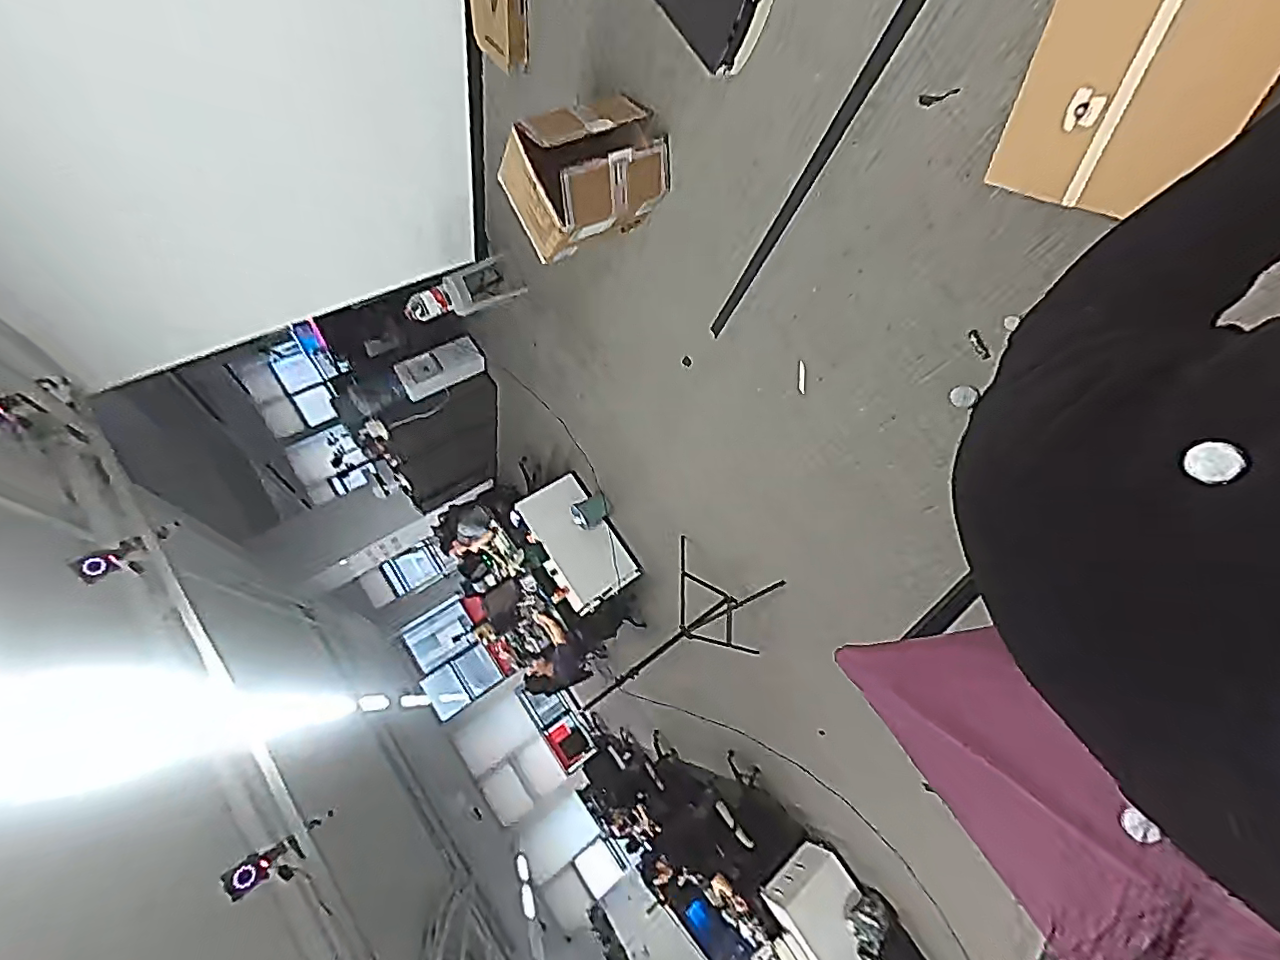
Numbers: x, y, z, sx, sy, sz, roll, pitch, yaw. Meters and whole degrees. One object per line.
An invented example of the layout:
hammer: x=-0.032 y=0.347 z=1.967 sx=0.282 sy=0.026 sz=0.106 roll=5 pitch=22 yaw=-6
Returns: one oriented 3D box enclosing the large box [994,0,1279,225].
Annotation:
large box: x=0.856 y=-0.686 z=0.837 sx=0.320 sy=0.320 sz=0.408 roll=43 pitch=153 yaw=34
